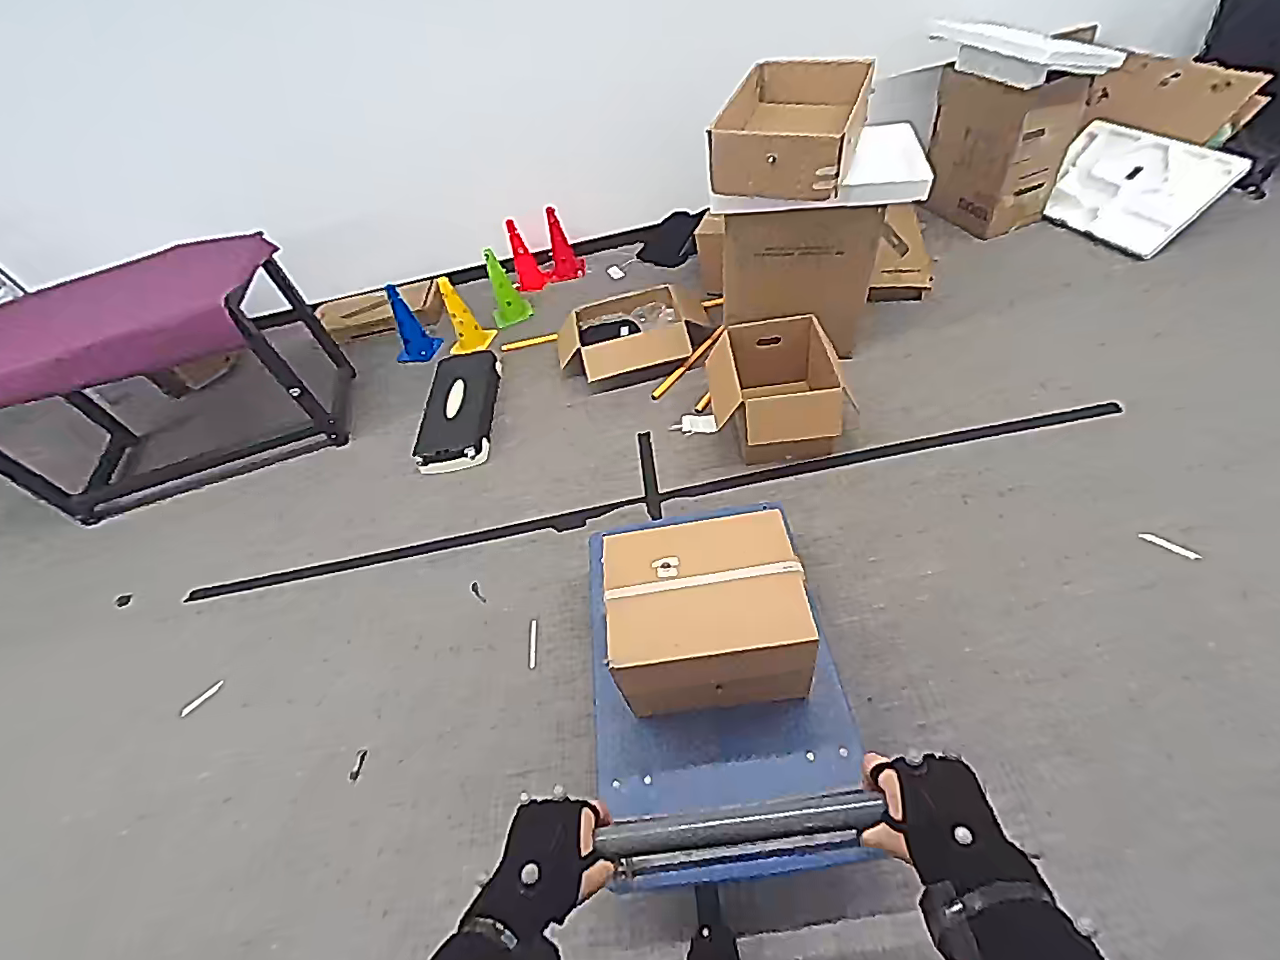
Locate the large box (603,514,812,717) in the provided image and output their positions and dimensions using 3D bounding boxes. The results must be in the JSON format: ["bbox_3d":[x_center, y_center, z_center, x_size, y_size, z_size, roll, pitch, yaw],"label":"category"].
[{"bbox_3d":[0.150,0.322,1.254,0.408,0.320,0.320,-11,48,5],"label":"large box"}]
